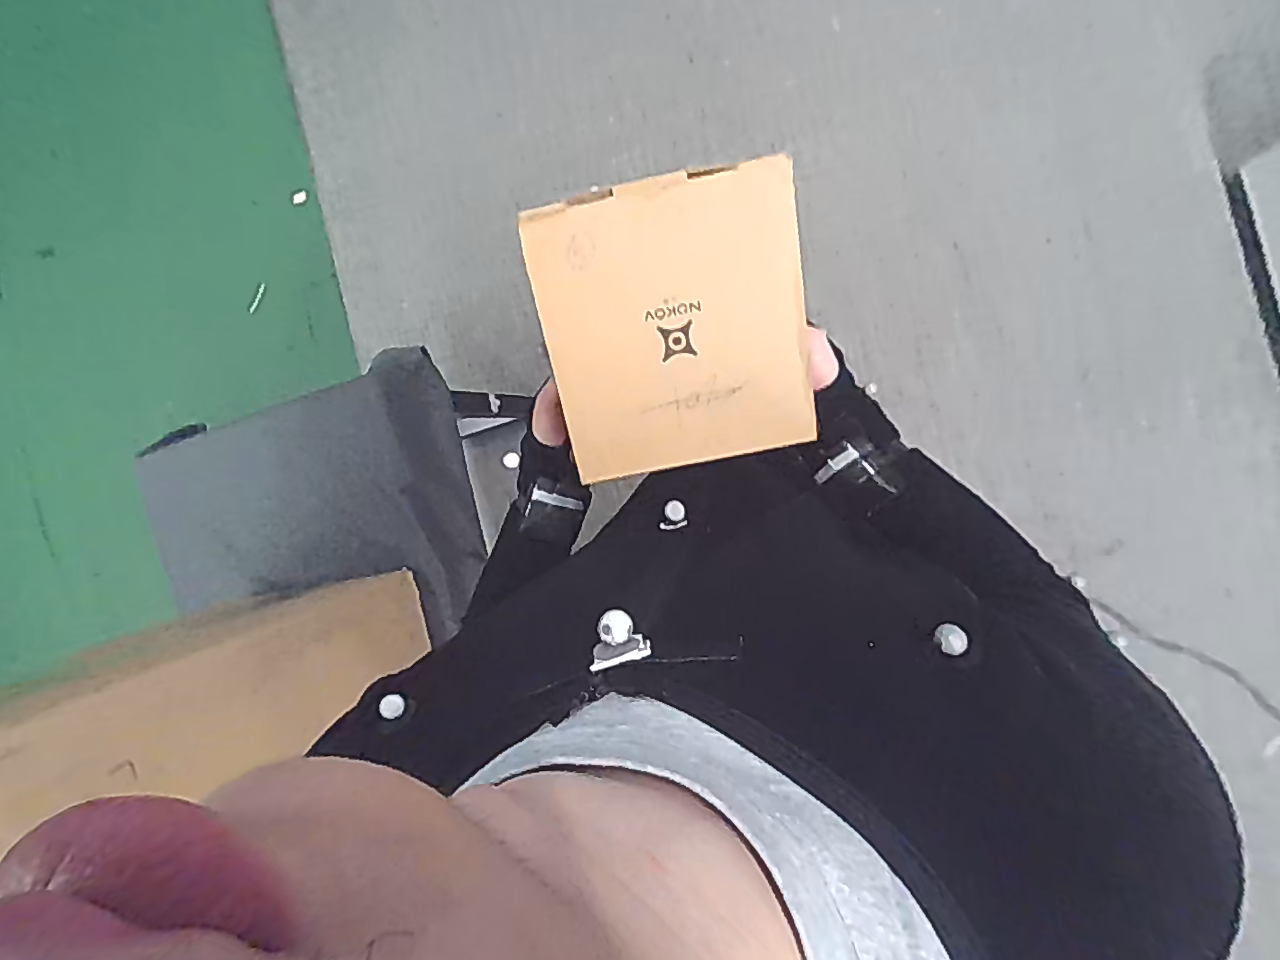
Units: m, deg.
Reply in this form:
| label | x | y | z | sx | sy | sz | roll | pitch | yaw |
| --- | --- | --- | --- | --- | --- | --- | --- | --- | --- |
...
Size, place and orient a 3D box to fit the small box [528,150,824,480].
| label | x | y | z | sx | sy | sz | roll | pitch | yaw |
| --- | --- | --- | --- | --- | --- | --- | --- | --- | --- |
| small box | 0.027 | -0.120 | 0.413 | 0.168 | 0.176 | 0.179 | -11 | 110 | 4 |
